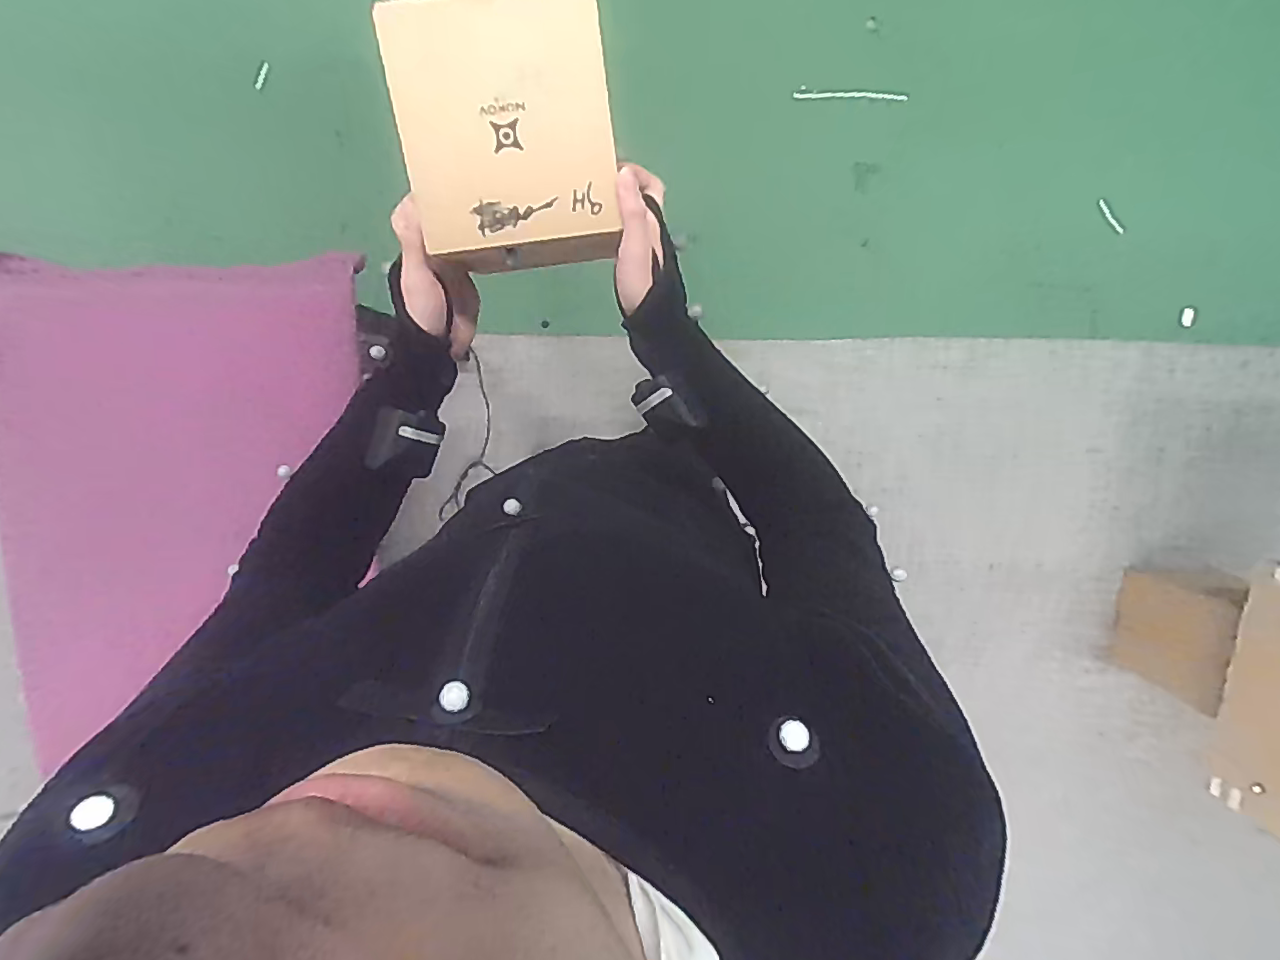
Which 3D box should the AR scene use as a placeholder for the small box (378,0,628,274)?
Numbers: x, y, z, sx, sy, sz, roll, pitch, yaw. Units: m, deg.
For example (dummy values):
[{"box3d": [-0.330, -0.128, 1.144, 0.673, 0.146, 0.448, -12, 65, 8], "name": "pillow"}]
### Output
[{"box3d": [-0.104, -0.295, 0.488, 0.168, 0.176, 0.179, -7, 105, -1], "name": "small box"}]
